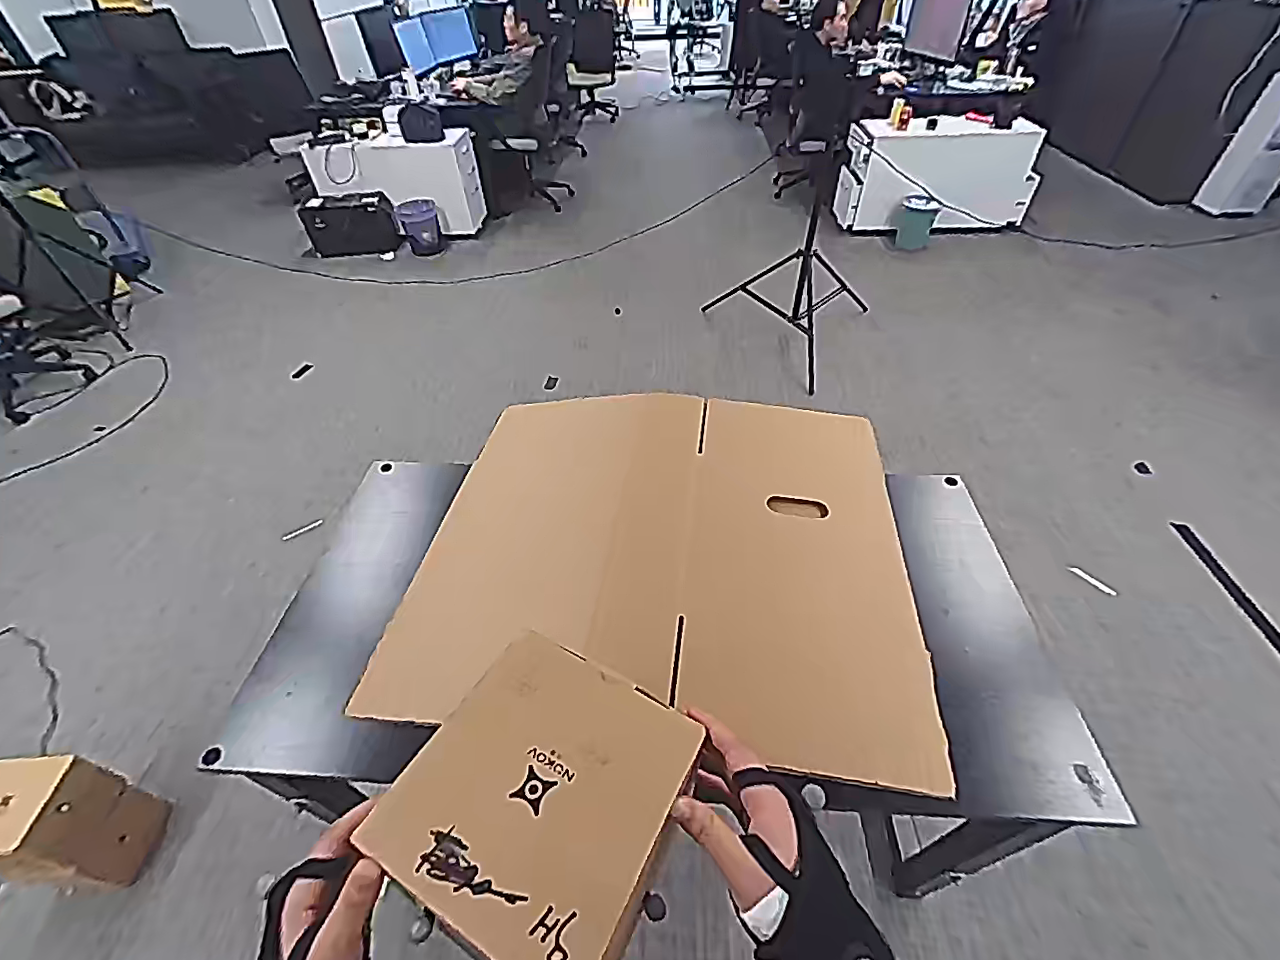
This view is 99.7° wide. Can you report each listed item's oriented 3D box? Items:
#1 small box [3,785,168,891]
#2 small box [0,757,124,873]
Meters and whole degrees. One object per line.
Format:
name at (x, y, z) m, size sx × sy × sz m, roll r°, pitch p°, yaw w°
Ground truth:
small box at (-1.247, 0.822, 1.240) m, size 0.168 × 0.176 × 0.179 m, roll -2°, pitch 46°, yaw 1°
small box at (-1.254, 0.703, 1.129) m, size 0.168 × 0.176 × 0.179 m, roll -3°, pitch 45°, yaw -2°
